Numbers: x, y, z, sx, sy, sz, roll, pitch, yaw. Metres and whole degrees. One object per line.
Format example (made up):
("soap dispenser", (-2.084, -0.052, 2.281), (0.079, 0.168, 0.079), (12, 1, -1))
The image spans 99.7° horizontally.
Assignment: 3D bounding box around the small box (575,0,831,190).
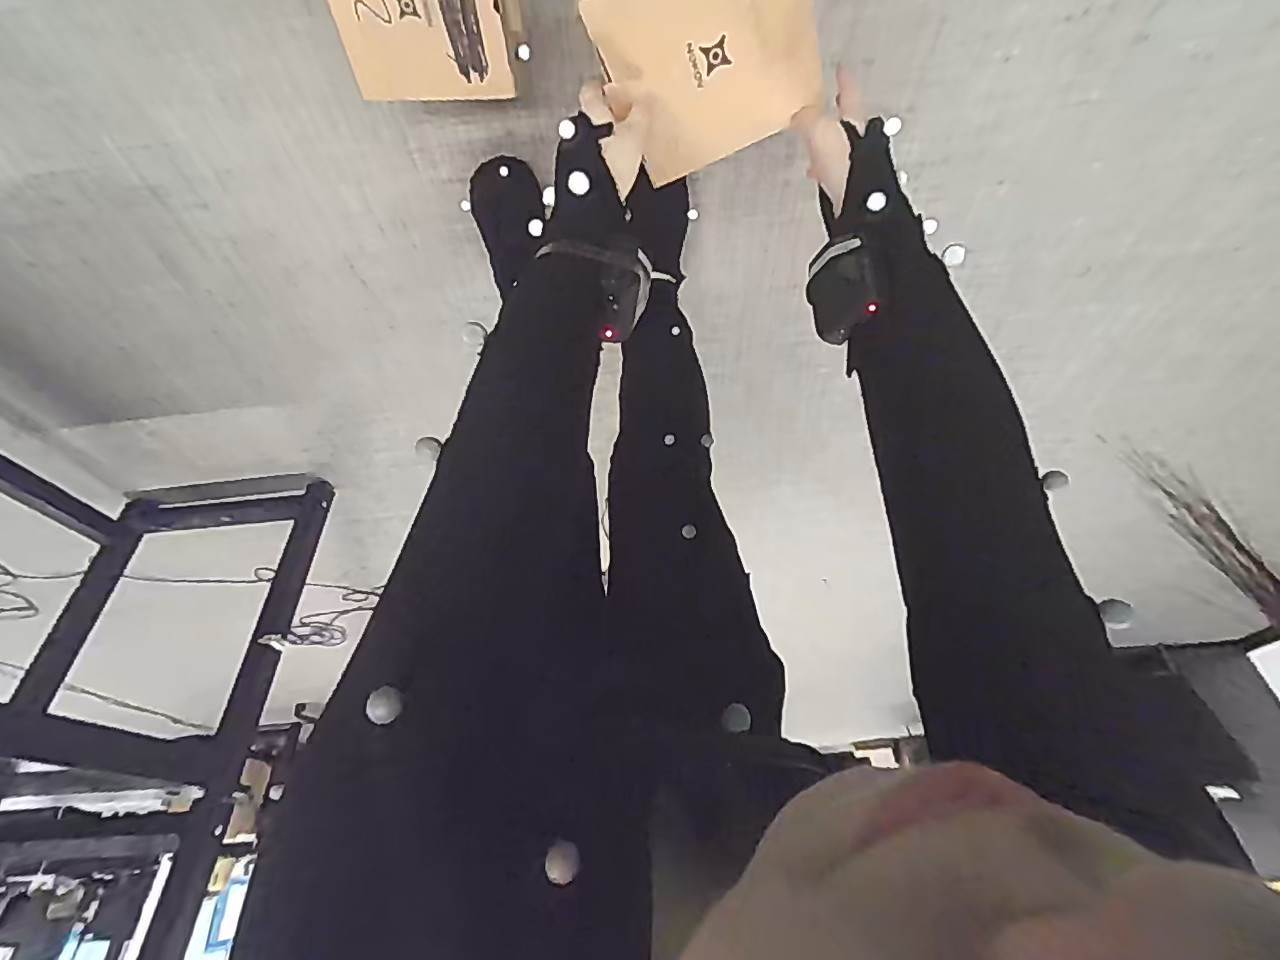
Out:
("small box", (0.057, -0.416, 0.495), (0.179, 0.176, 0.168), (-18, 144, 18))
